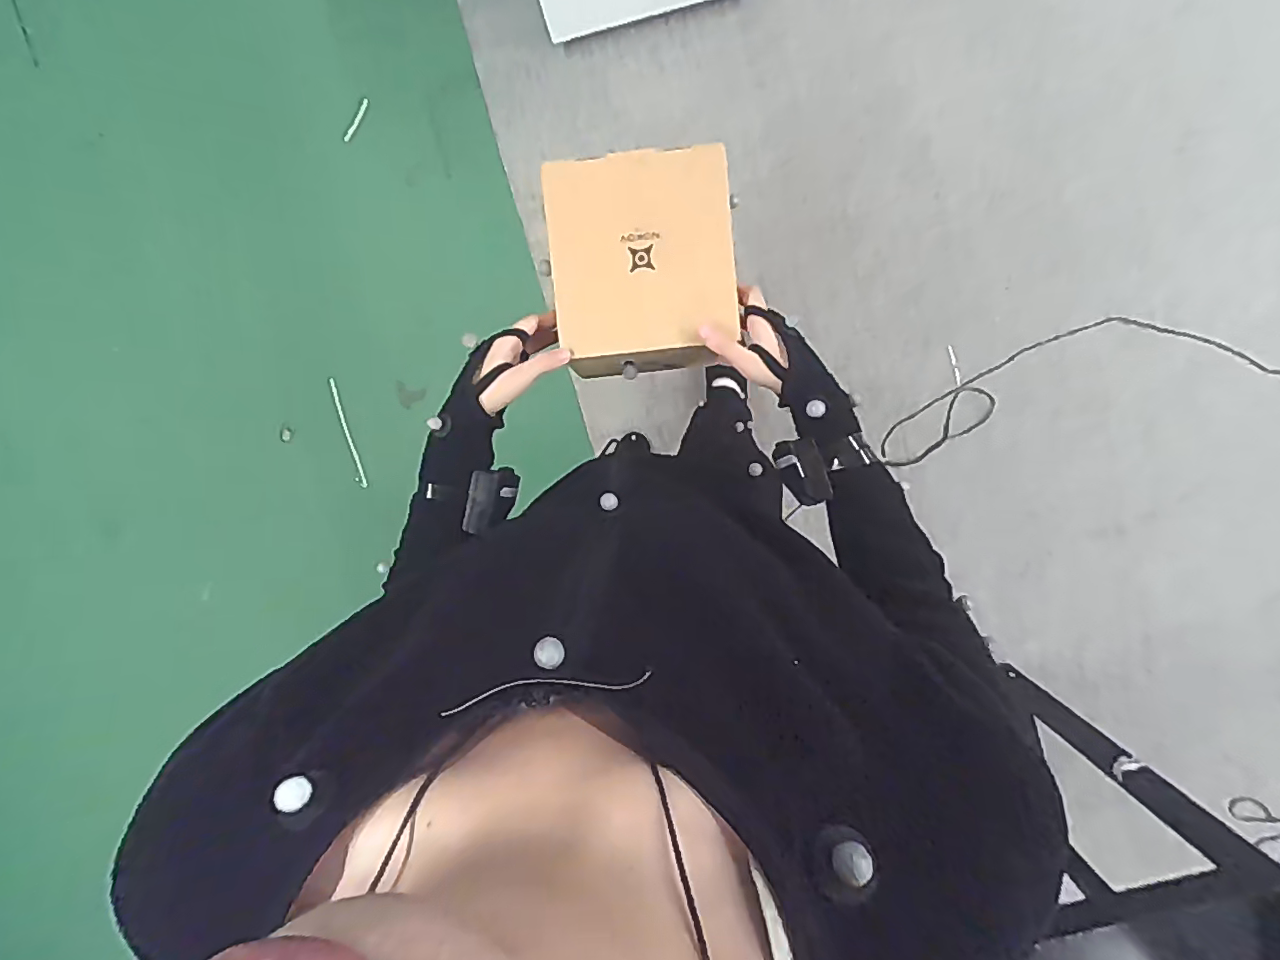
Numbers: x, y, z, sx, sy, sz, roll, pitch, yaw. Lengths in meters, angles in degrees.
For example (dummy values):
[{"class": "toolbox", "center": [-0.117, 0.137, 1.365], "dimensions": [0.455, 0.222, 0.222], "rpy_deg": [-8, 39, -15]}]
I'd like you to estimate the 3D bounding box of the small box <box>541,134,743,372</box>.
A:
[{"class": "small box", "center": [0.004, -0.209, 0.551], "dimensions": [0.168, 0.176, 0.179], "rpy_deg": [-6, 94, 1]}]
